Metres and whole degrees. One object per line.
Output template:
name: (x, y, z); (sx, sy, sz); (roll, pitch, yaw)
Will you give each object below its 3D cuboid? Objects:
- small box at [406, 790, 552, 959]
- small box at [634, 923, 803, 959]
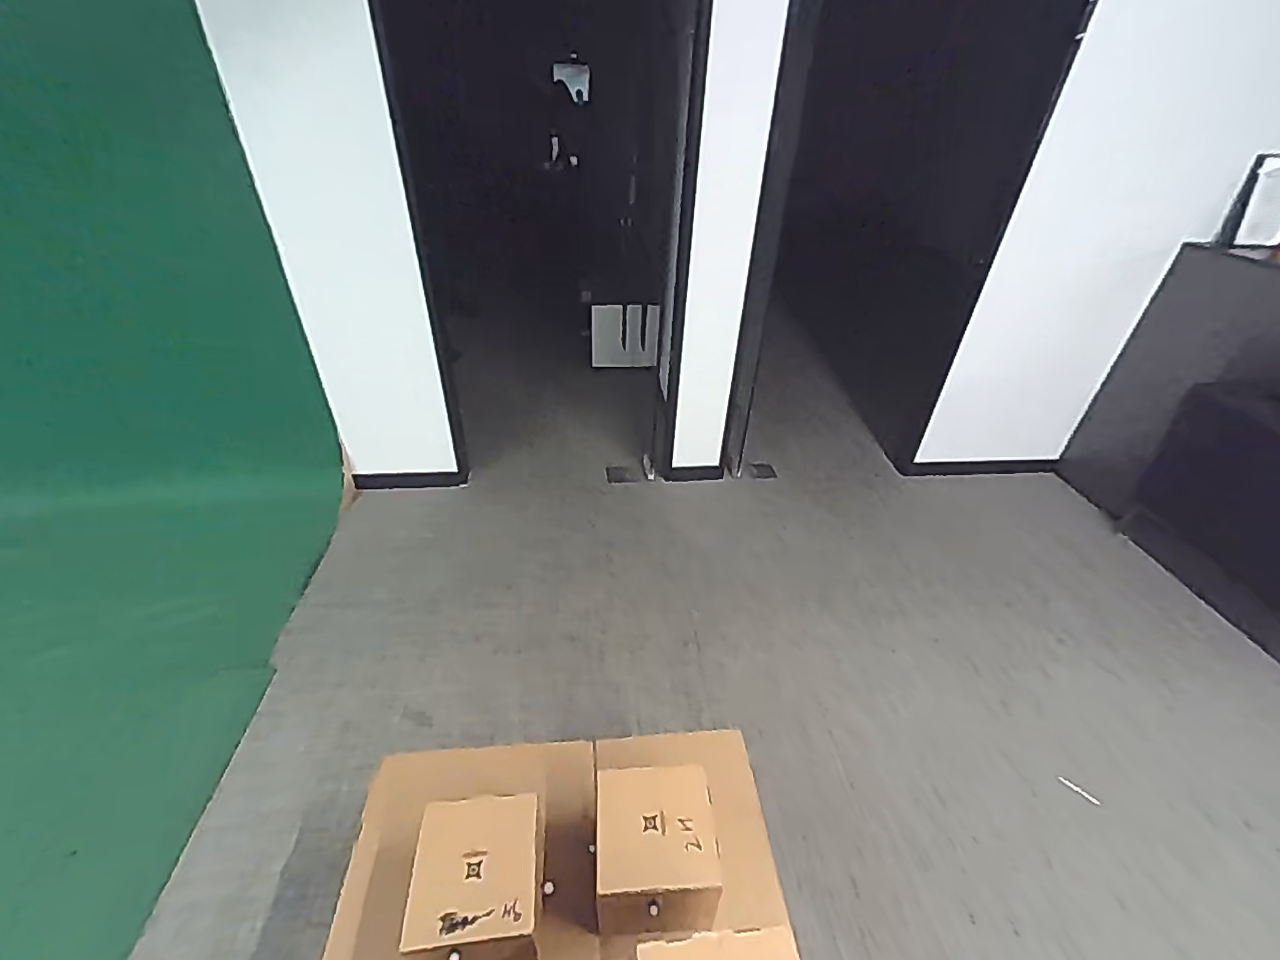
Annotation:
small box: (-0.220, 0.591, 0.790); (0.168, 0.176, 0.179); (-4, 35, -5)
small box: (0.081, 0.573, 0.517); (0.168, 0.176, 0.179); (2, 30, -11)
